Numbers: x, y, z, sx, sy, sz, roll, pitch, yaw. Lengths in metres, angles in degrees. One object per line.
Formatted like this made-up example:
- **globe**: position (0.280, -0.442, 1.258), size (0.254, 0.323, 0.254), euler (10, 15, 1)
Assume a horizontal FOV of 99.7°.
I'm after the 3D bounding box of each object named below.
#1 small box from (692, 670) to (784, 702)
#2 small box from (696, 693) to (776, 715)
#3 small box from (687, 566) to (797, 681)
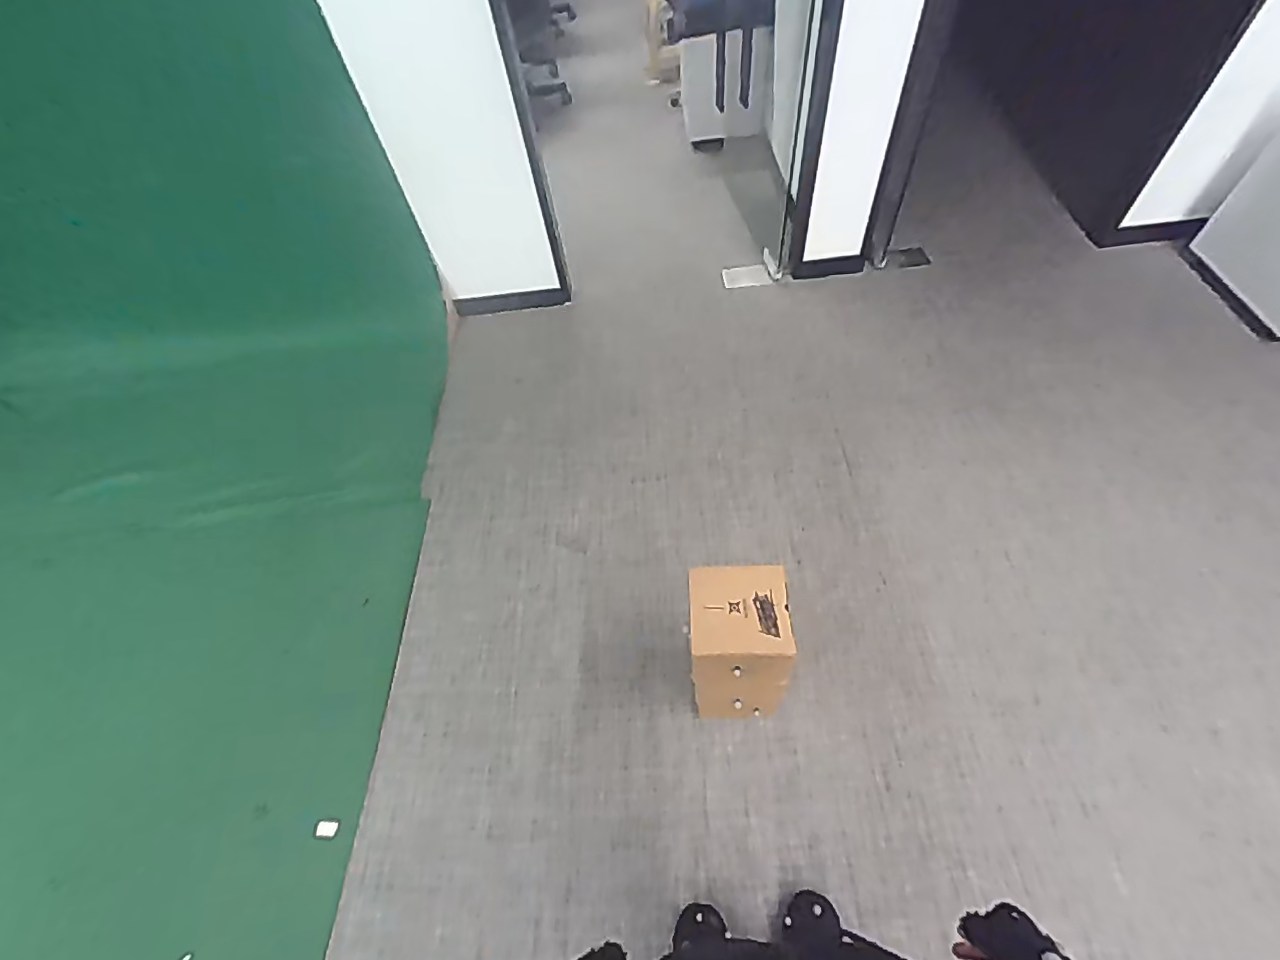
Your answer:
- **small box**: position (0.201, 0.367, 1.152), size (0.179, 0.176, 0.168), euler (0, 55, 6)
- **small box**: position (0.218, 0.456, 1.290), size (0.179, 0.176, 0.168), euler (-4, 54, 6)
- **small box**: position (0.182, 0.273, 1.019), size (0.179, 0.176, 0.168), euler (-3, 55, 3)
